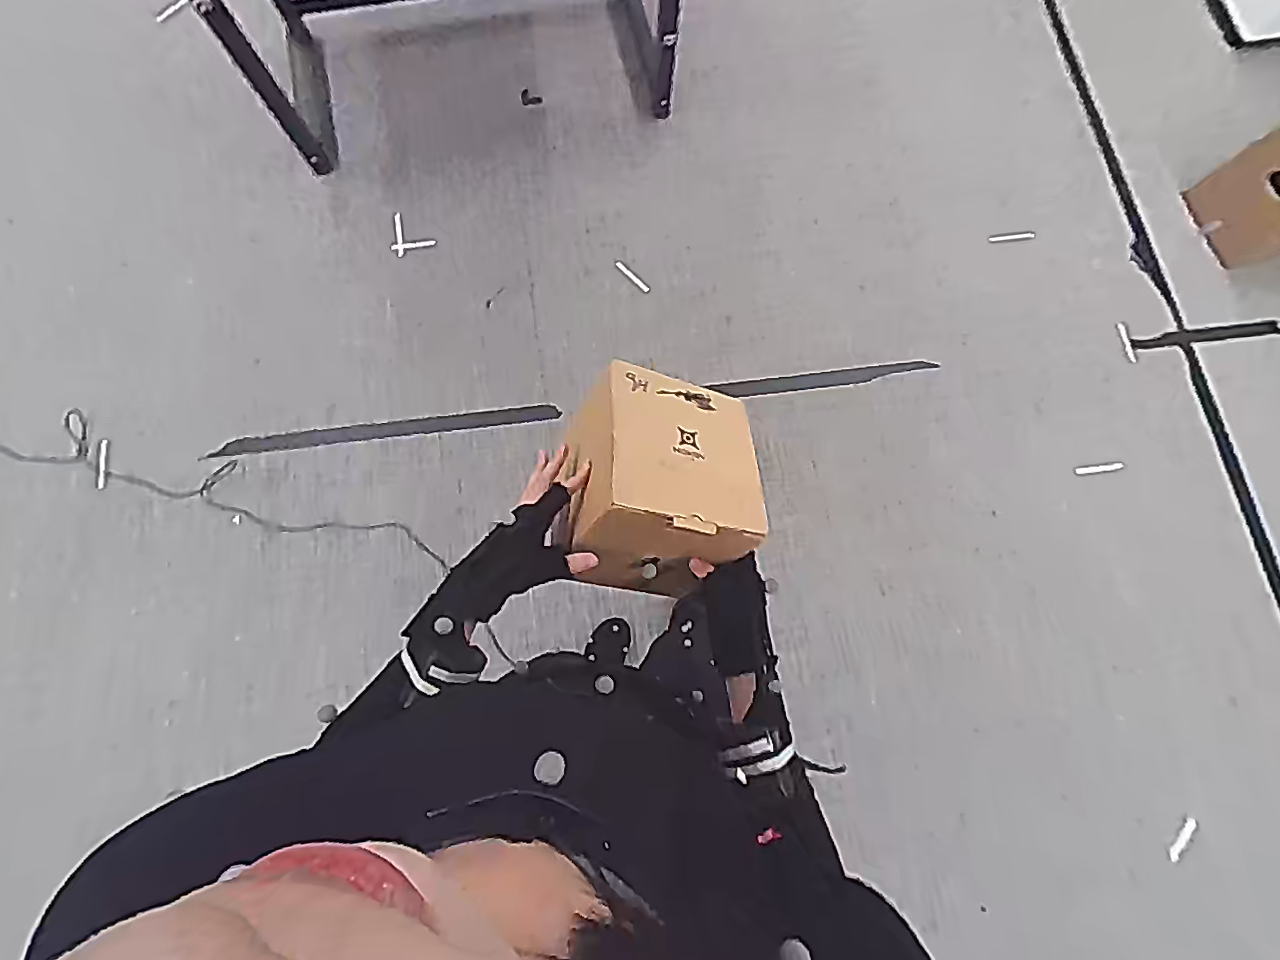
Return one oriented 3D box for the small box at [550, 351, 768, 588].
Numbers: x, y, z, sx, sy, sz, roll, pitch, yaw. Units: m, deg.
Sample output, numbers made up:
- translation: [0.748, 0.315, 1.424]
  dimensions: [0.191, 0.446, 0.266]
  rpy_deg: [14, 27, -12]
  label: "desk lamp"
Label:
- translation: [0.009, 0.001, 0.578]
  dimensions: [0.168, 0.176, 0.179]
  rpy_deg: [13, 54, -23]
  label: "small box"
